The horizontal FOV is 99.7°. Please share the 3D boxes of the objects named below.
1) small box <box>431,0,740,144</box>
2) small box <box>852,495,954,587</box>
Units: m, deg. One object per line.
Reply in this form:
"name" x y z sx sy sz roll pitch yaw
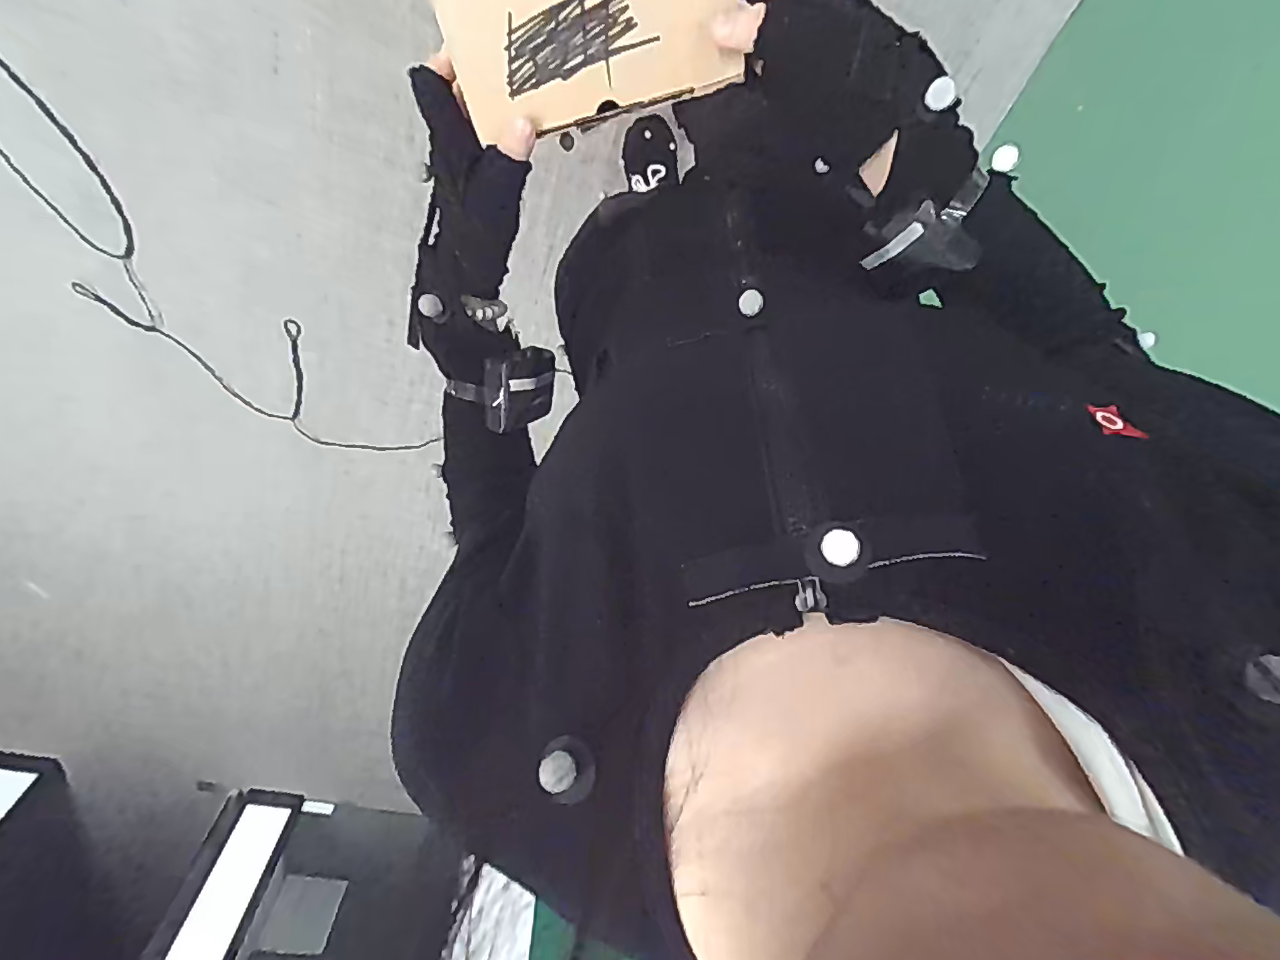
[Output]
"small box" -0.036 -0.337 0.339 0.168 0.176 0.179 -11 124 10
"small box" 0.737 0.170 1.541 0.168 0.176 0.179 21 125 -15
